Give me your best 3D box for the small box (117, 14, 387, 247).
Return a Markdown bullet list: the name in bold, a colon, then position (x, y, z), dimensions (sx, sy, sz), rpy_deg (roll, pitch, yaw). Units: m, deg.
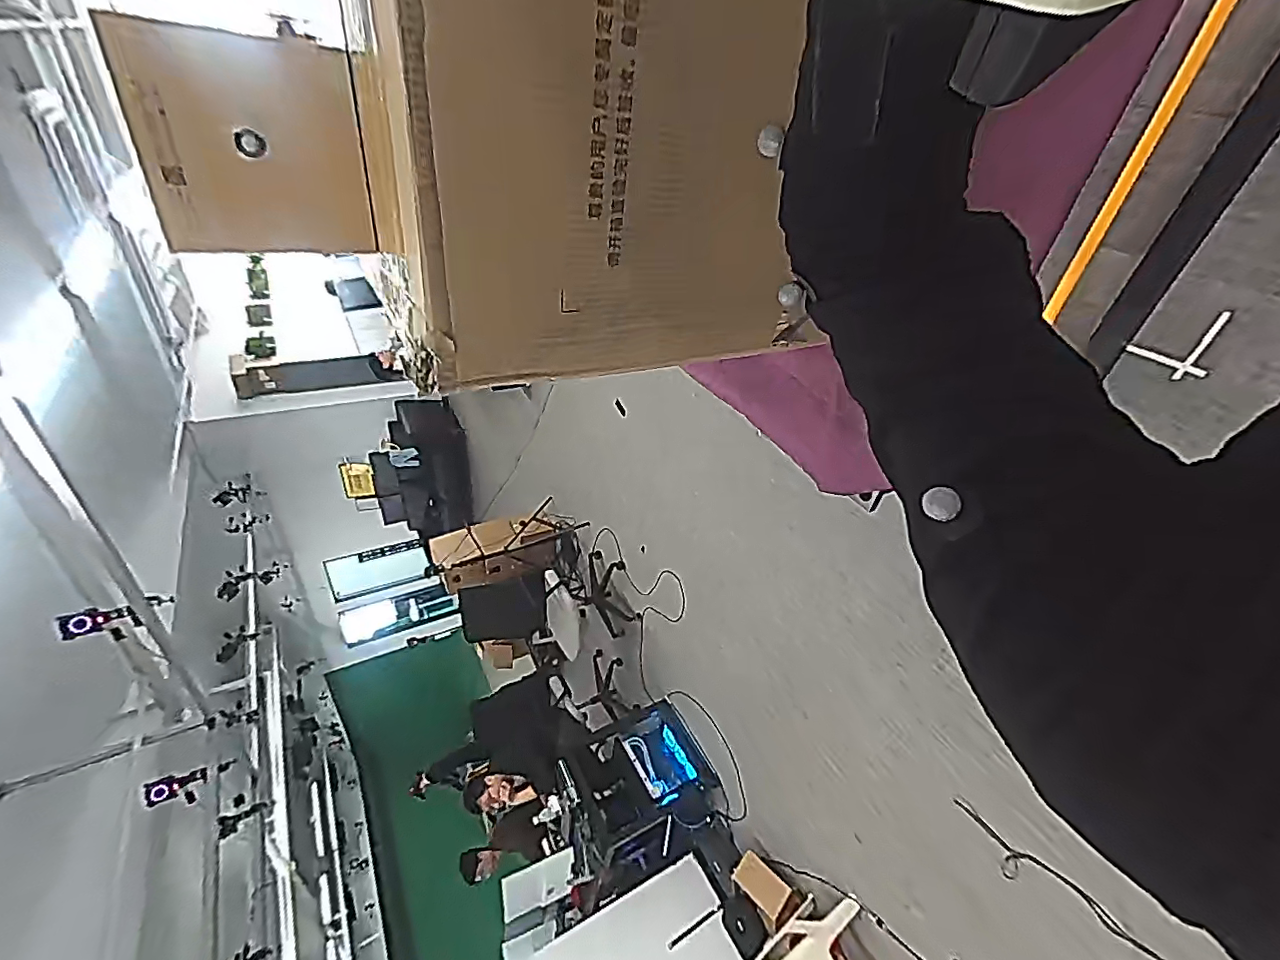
- **small box**: position (-0.364, -0.326, 0.528), dimensions (0.179, 0.176, 0.168), rpy_deg (43, 137, 46)
